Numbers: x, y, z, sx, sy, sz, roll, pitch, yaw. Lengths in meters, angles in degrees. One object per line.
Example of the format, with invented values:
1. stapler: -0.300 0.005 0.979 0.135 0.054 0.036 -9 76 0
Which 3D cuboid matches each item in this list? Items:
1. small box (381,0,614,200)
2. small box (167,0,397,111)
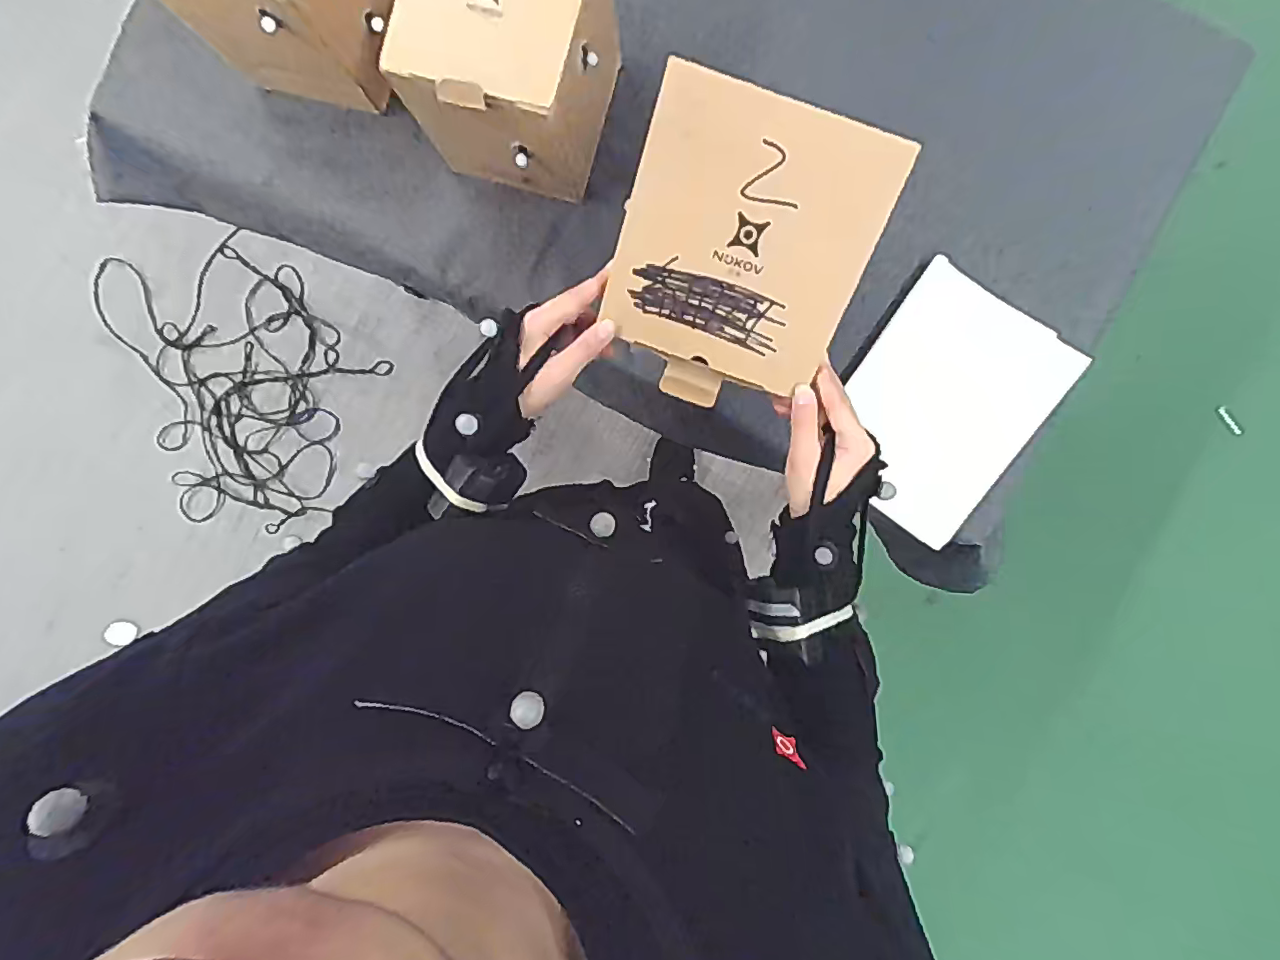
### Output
1. small box: -0.129 -0.426 0.559 0.168 0.176 0.179 16 90 2
2. small box: -0.379 -0.535 0.573 0.179 0.176 0.168 14 91 2
